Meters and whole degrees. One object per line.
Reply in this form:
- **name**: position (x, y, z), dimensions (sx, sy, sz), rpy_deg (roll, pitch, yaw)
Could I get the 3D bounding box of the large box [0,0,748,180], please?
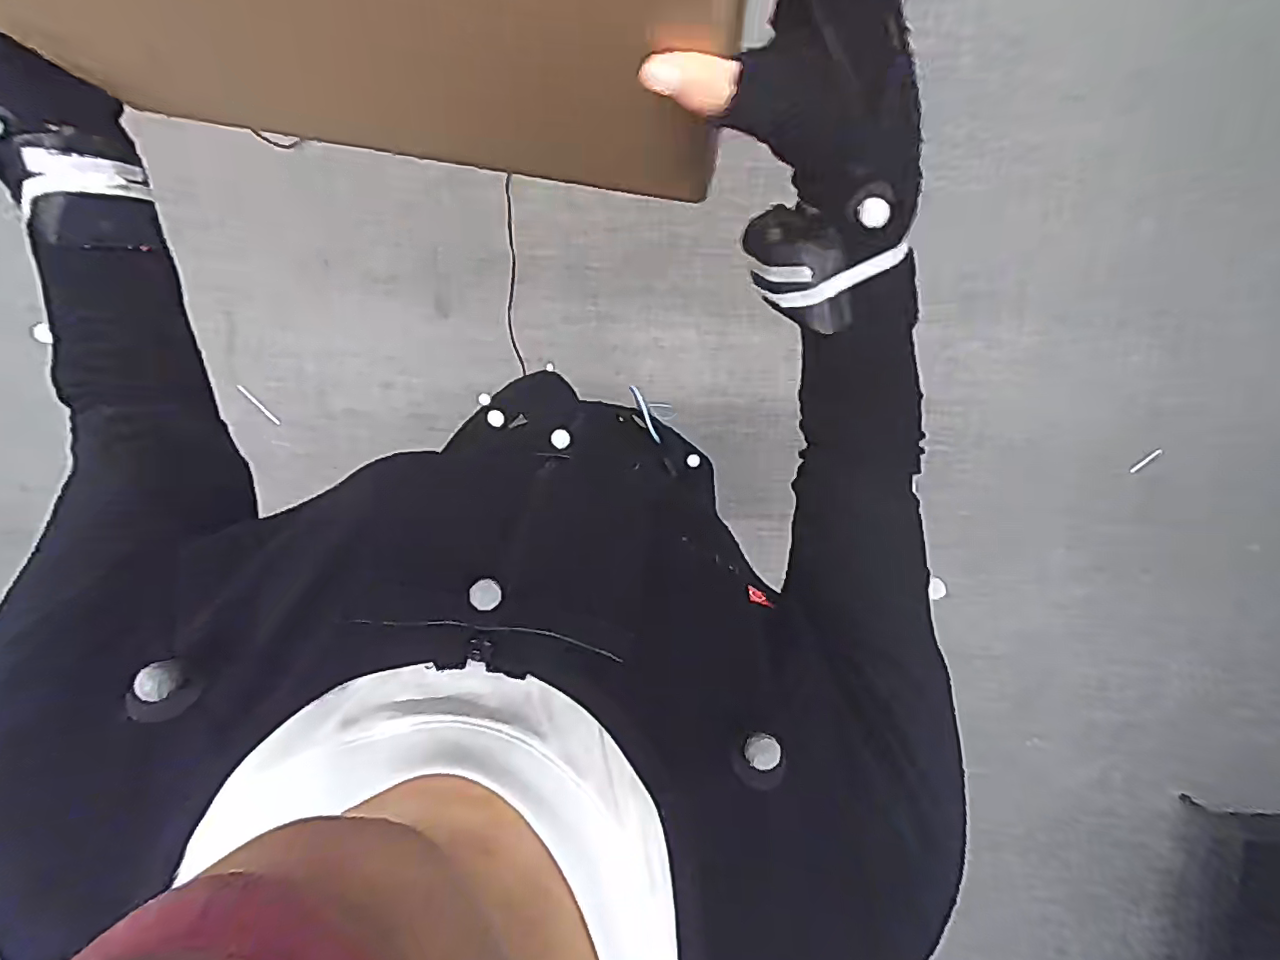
- **large box**: position (-0.133, -0.361, 0.197), dimensions (0.408, 0.320, 0.320), rpy_deg (12, 96, 4)
